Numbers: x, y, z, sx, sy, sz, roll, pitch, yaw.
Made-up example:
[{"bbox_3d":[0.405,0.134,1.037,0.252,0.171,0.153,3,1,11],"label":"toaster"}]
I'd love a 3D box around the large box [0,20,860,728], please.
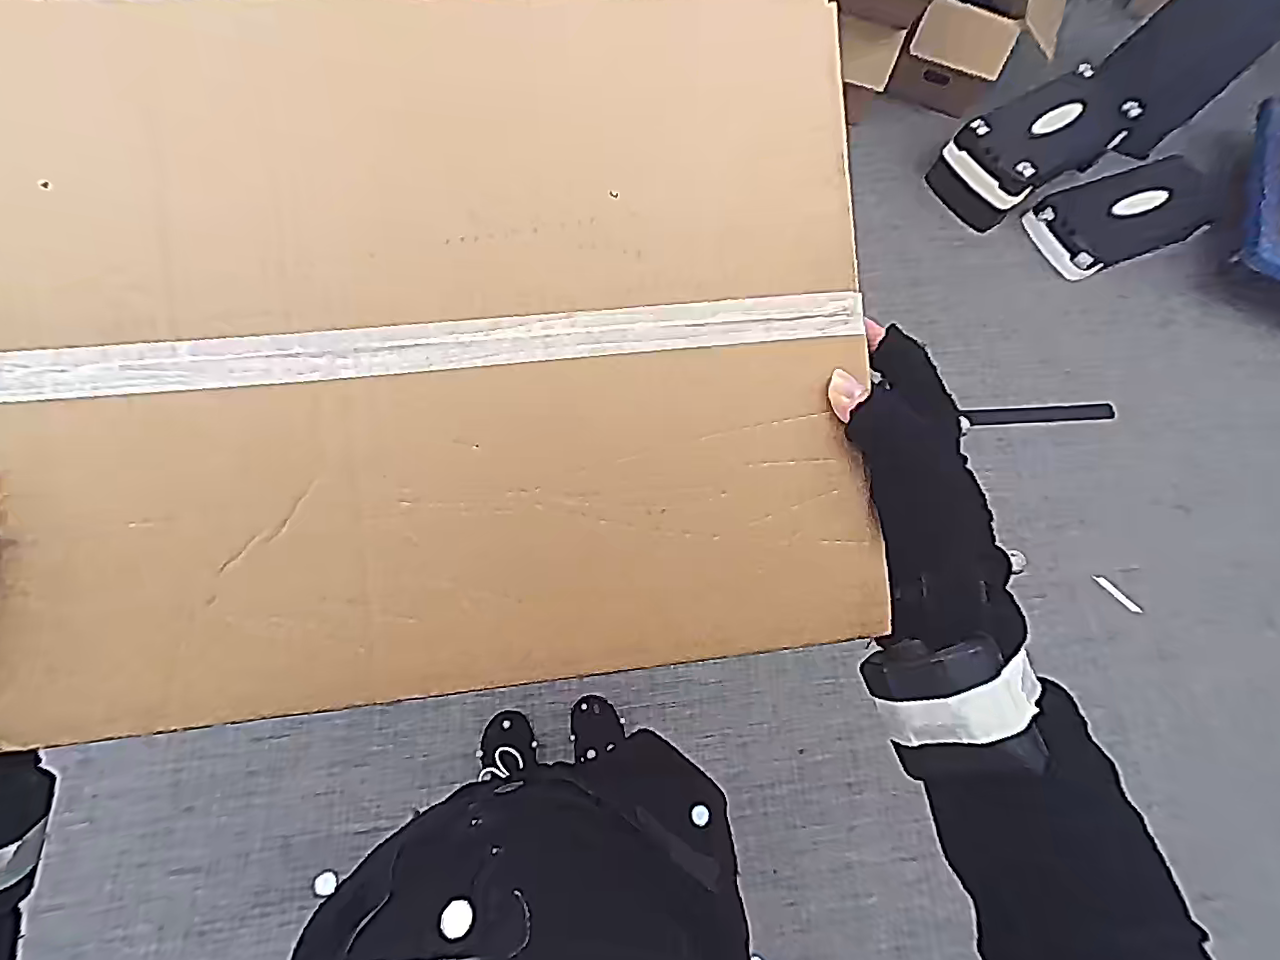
[{"bbox_3d":[-0.109,-0.063,0.404,0.408,0.320,0.320,-5,90,-6],"label":"large box"}]
